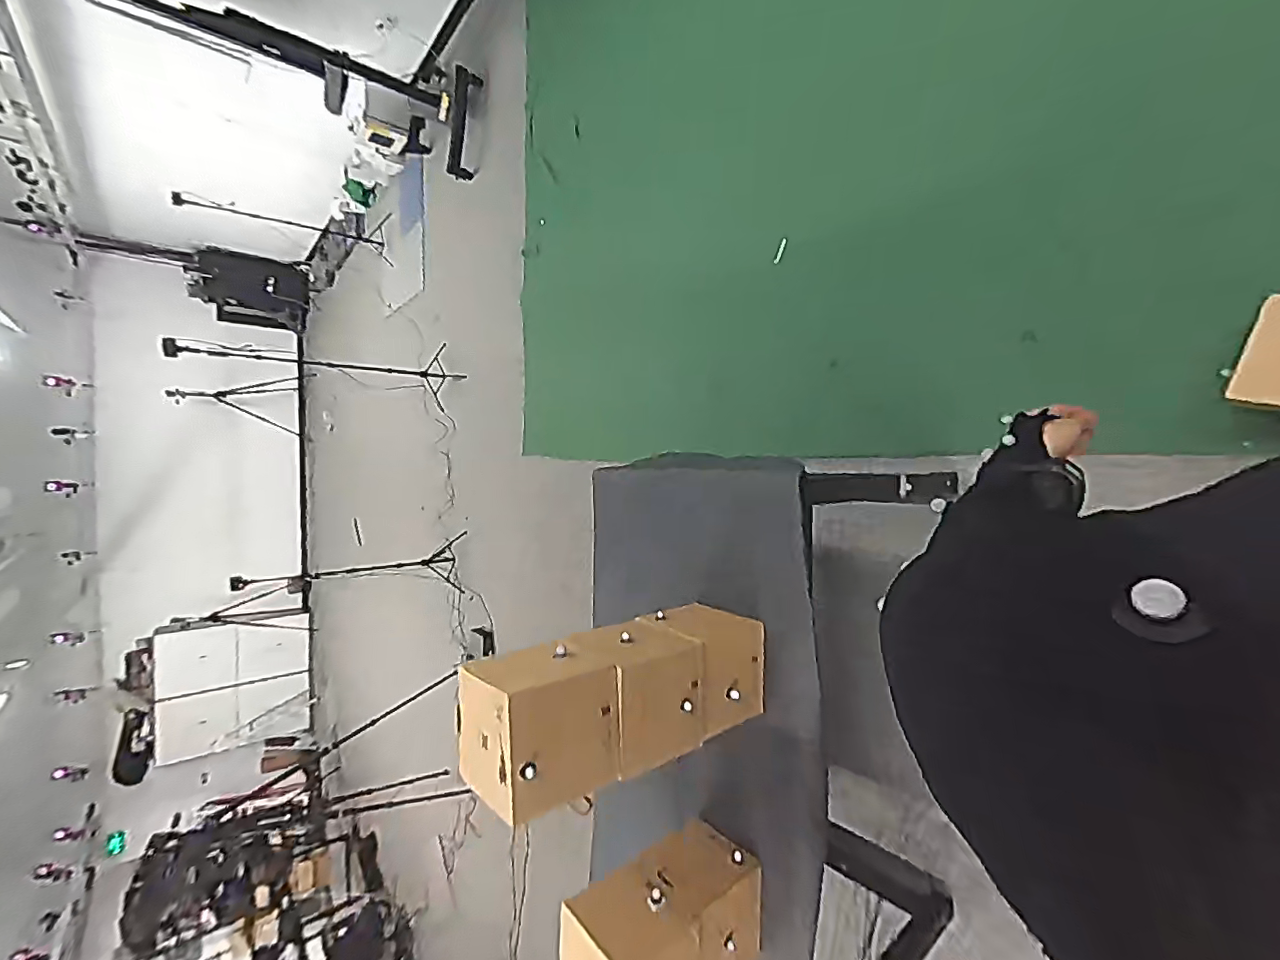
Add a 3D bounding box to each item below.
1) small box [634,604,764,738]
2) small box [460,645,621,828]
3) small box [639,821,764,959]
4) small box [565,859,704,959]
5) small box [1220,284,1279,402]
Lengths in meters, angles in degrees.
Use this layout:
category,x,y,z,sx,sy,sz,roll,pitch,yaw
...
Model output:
category,x,y,z,sx,sy,sz,roll,pitch,yaw
small box,0.109,0.331,0.981,0.179,0.176,0.168,2,93,51
small box,-0.144,0.344,0.772,0.179,0.176,0.168,-4,89,51
small box,0.113,0.777,0.996,0.168,0.176,0.179,3,95,50
small box,-0.009,0.785,0.890,0.168,0.176,0.179,4,94,49
small box,1.118,-0.216,0.896,0.168,0.176,0.179,25,110,45
